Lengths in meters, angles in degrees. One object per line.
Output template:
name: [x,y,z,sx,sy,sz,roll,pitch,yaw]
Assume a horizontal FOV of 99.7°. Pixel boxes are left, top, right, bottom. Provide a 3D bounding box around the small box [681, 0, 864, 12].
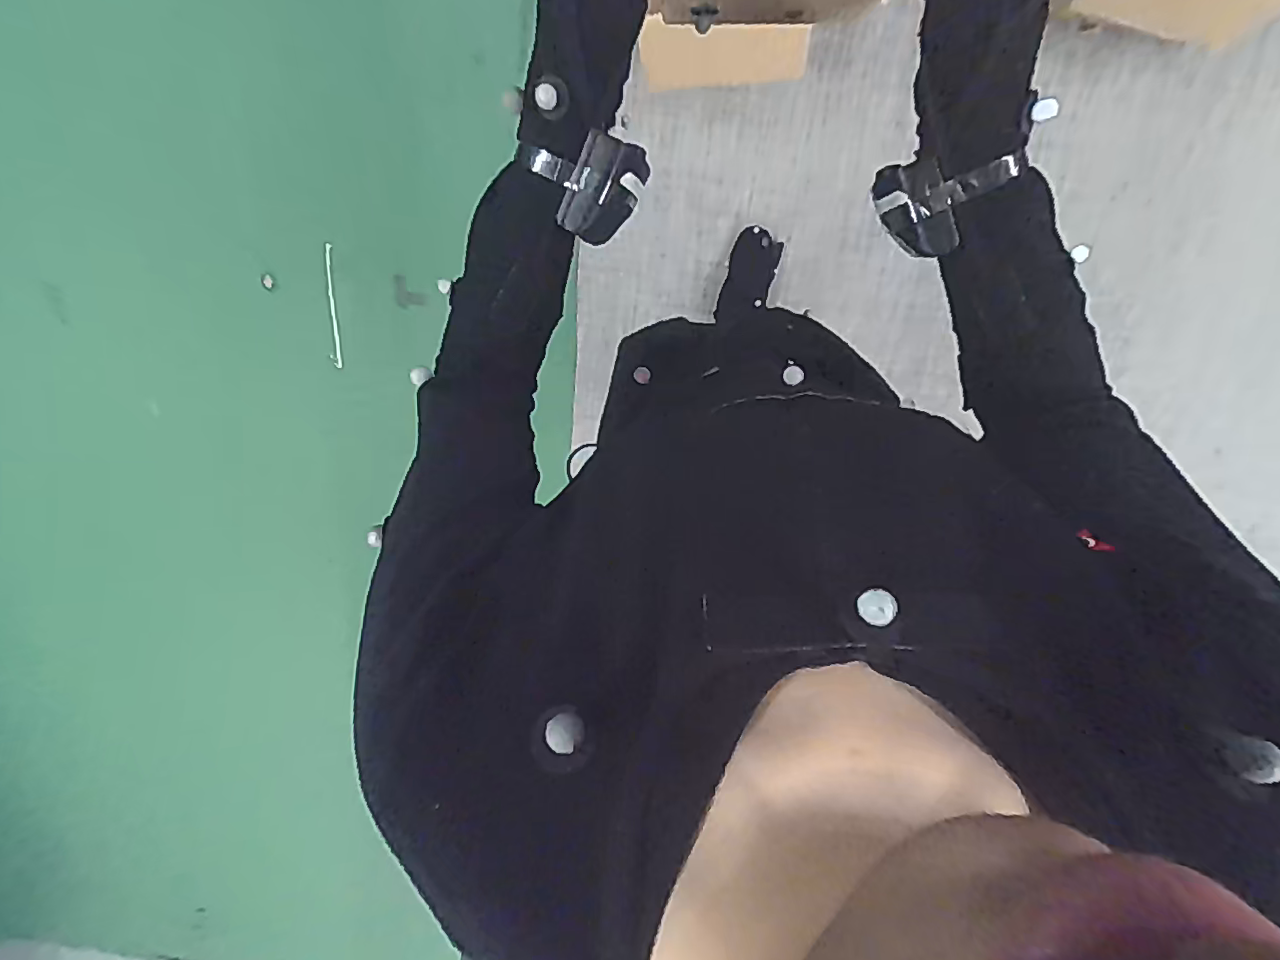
small box: [0.095,-0.428,0.336,0.168,0.176,0.179,2,111,4]
